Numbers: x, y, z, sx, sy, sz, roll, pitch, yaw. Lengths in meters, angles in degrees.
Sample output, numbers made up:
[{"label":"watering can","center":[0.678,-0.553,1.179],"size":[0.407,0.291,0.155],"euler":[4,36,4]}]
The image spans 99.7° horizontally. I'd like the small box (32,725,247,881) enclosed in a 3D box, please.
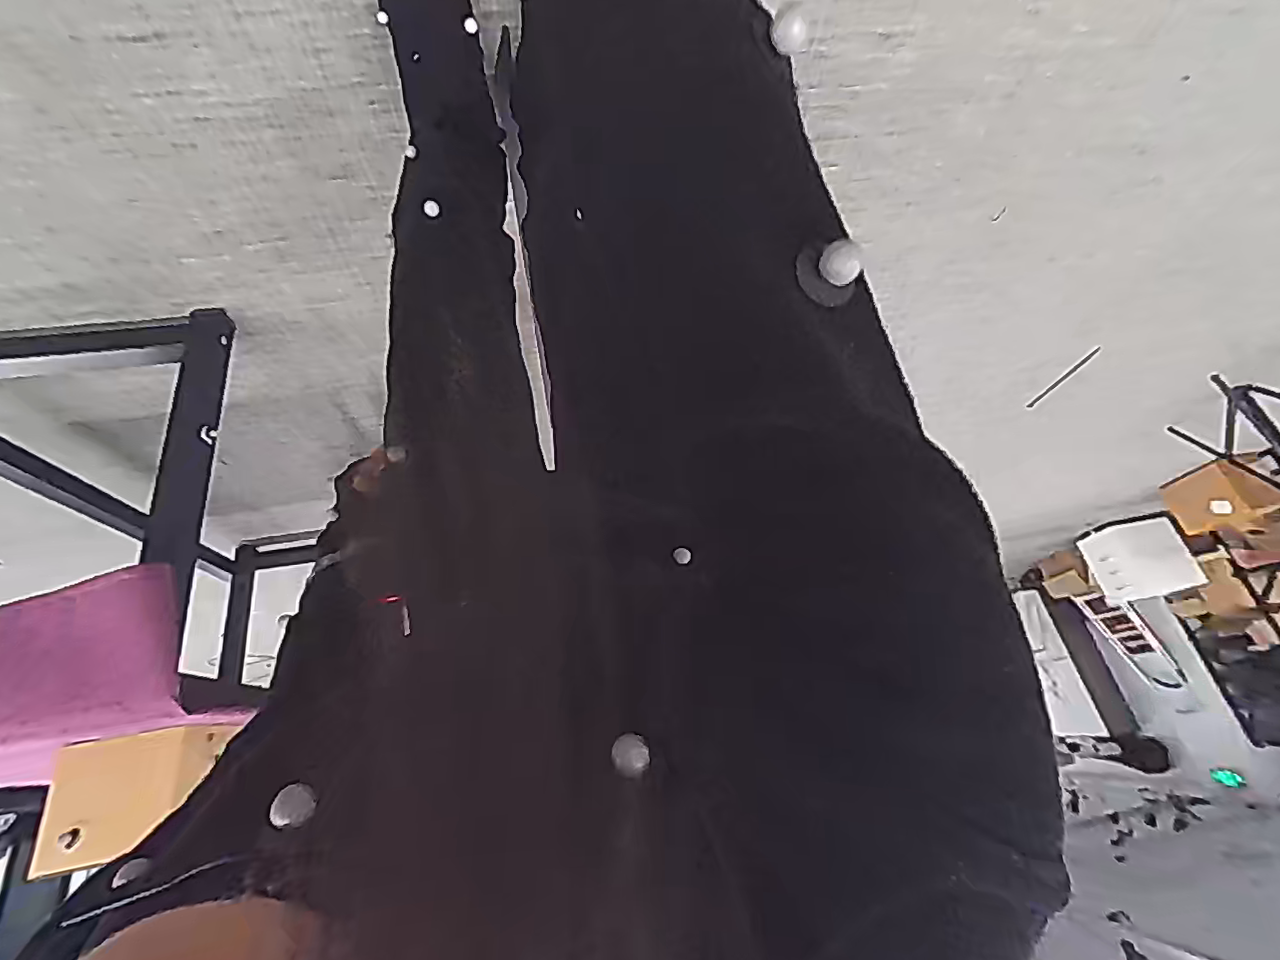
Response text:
[{"label":"small box","center":[-0.757,0.490,0.845],"size":[0.179,0.176,0.168],"euler":[-8,157,-7]}]
